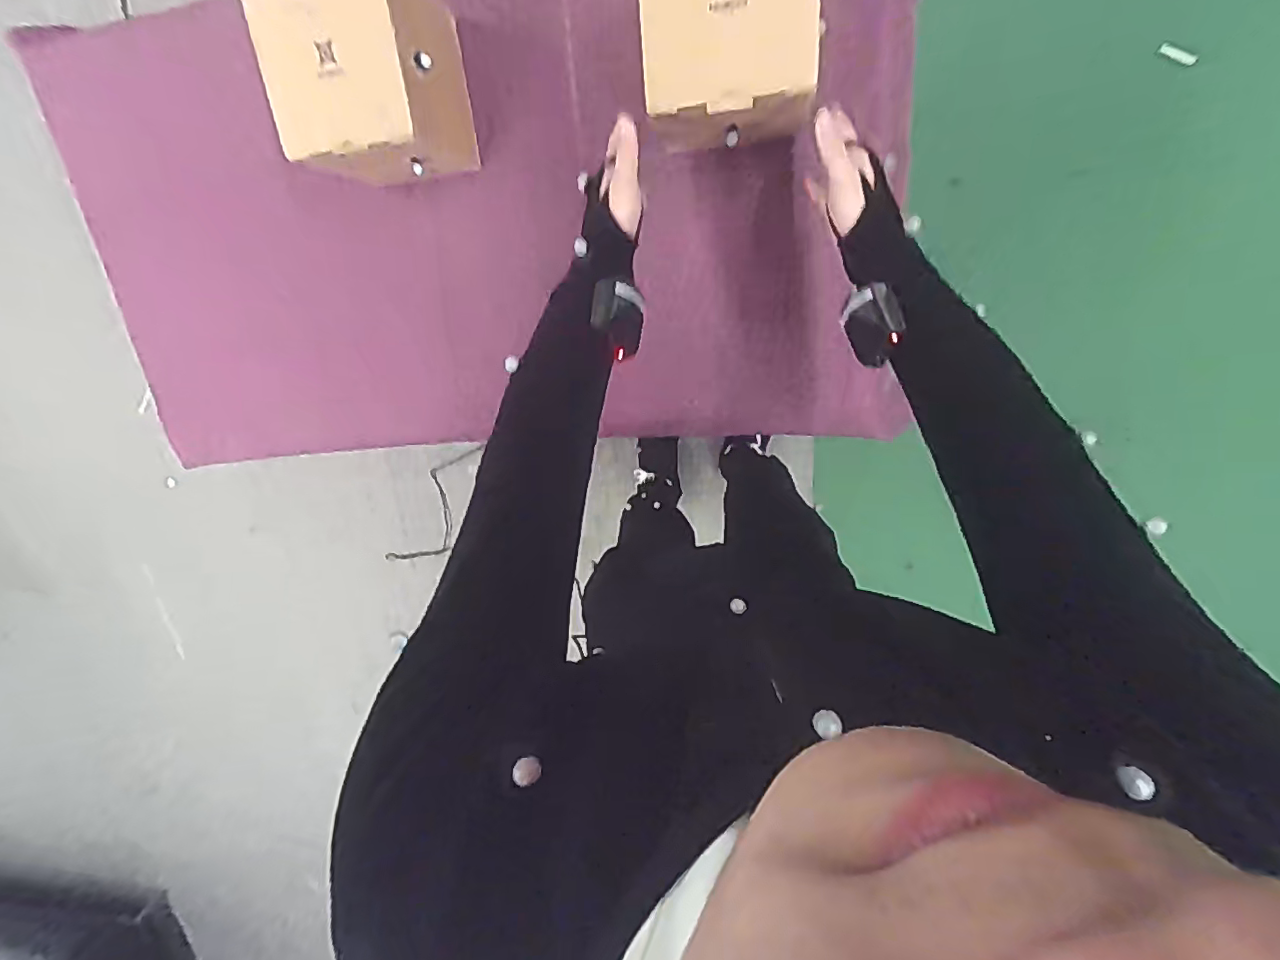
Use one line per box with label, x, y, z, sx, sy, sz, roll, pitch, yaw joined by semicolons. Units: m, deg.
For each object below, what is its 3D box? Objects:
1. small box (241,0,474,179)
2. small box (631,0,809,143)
small box;-0.320;-0.476;0.650;0.168;0.176;0.179;-2;109;11
small box;0.088;-0.473;0.568;0.168;0.176;0.179;-1;110;12
